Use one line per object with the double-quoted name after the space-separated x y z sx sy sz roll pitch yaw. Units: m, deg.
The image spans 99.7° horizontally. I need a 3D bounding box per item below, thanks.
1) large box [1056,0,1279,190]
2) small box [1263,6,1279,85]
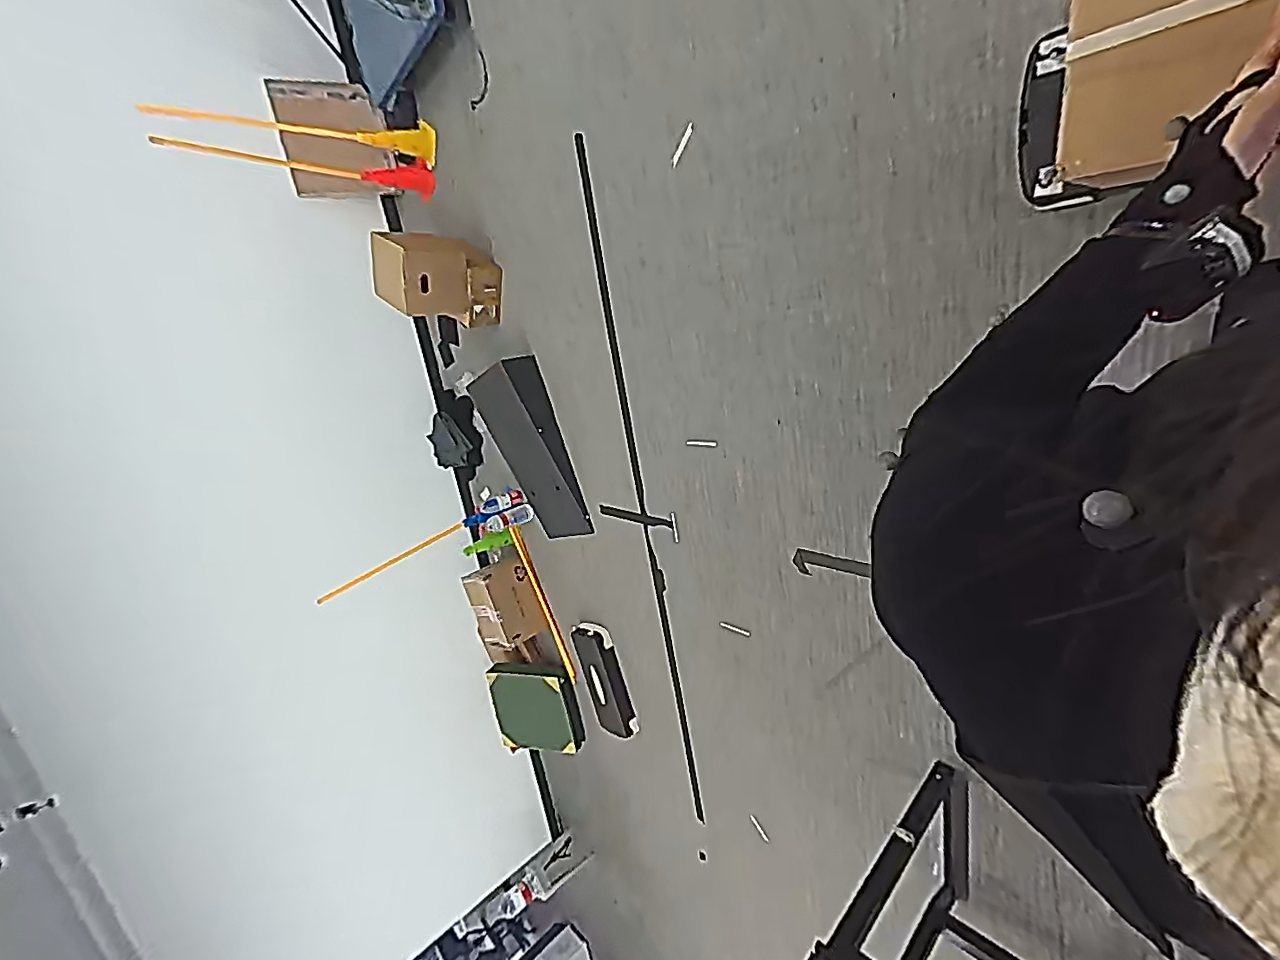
0.808 -0.572 0.659 0.408 0.320 0.320 13 116 47 "large box"
0.685 -0.464 0.458 0.179 0.176 0.168 17 120 46 "small box"
